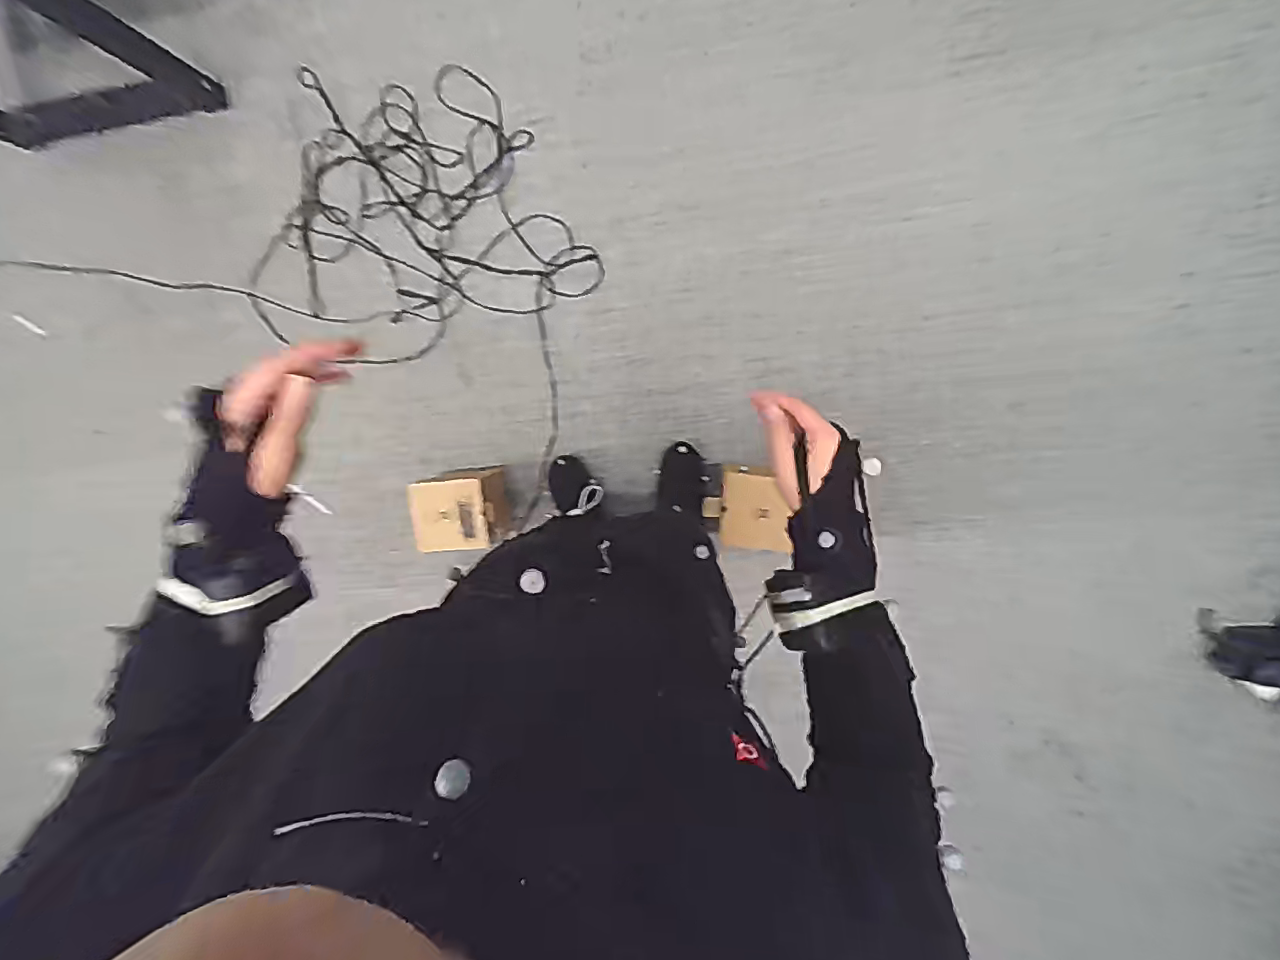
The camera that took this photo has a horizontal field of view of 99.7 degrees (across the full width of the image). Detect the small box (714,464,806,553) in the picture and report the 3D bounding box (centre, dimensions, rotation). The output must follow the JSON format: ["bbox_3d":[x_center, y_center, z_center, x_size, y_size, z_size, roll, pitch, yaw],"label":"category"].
[{"bbox_3d":[0.271,0.060,1.256,0.179,0.176,0.168,5,100,5],"label":"small box"}]
